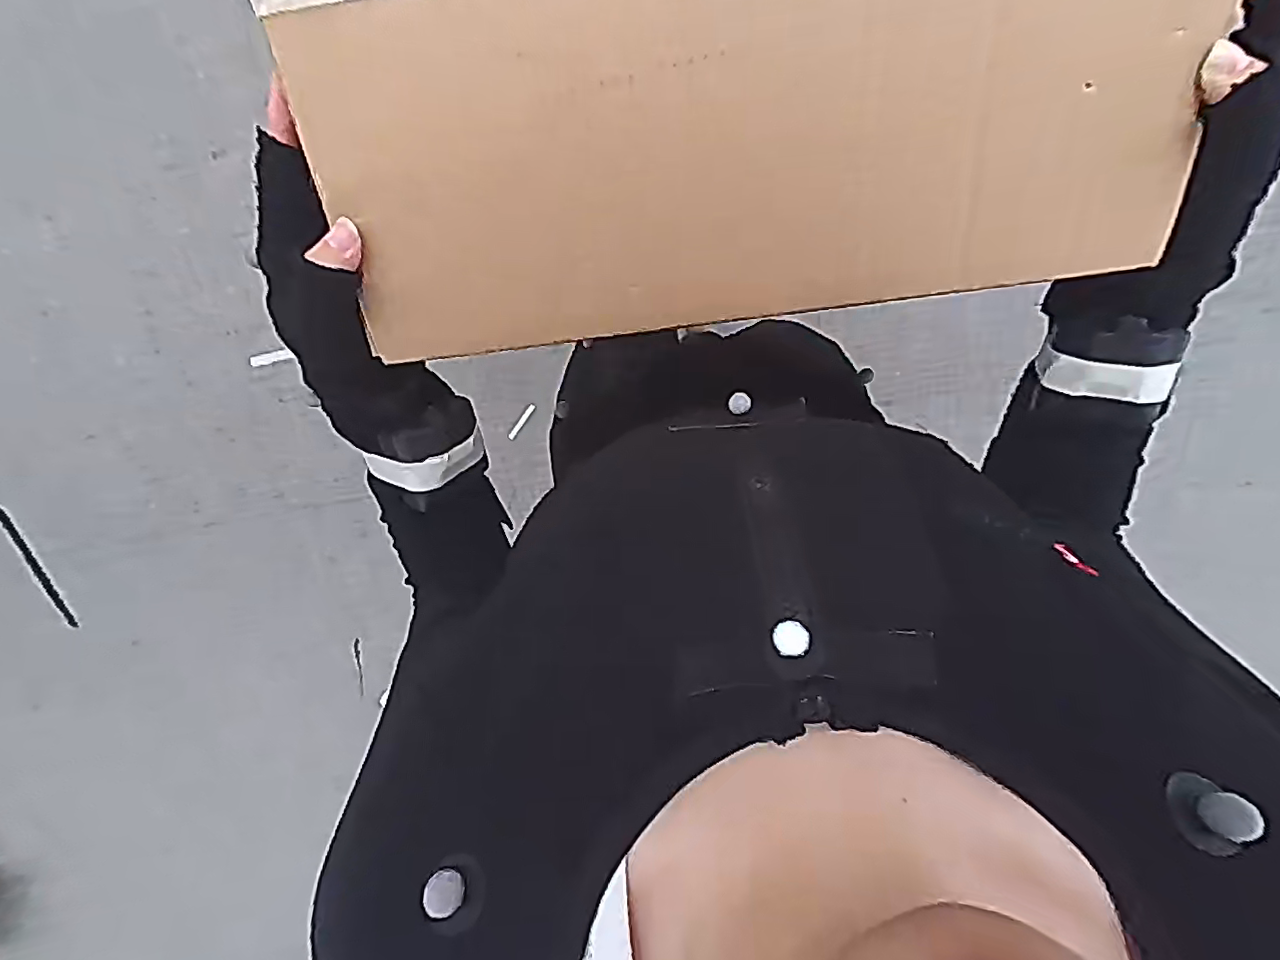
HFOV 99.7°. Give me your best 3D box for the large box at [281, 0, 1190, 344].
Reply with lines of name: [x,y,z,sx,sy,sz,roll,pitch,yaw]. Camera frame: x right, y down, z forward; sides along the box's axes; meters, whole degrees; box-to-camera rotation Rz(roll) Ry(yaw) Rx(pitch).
large box: [0.035,-0.301,0.358,0.408,0.320,0.320,-7,117,2]
